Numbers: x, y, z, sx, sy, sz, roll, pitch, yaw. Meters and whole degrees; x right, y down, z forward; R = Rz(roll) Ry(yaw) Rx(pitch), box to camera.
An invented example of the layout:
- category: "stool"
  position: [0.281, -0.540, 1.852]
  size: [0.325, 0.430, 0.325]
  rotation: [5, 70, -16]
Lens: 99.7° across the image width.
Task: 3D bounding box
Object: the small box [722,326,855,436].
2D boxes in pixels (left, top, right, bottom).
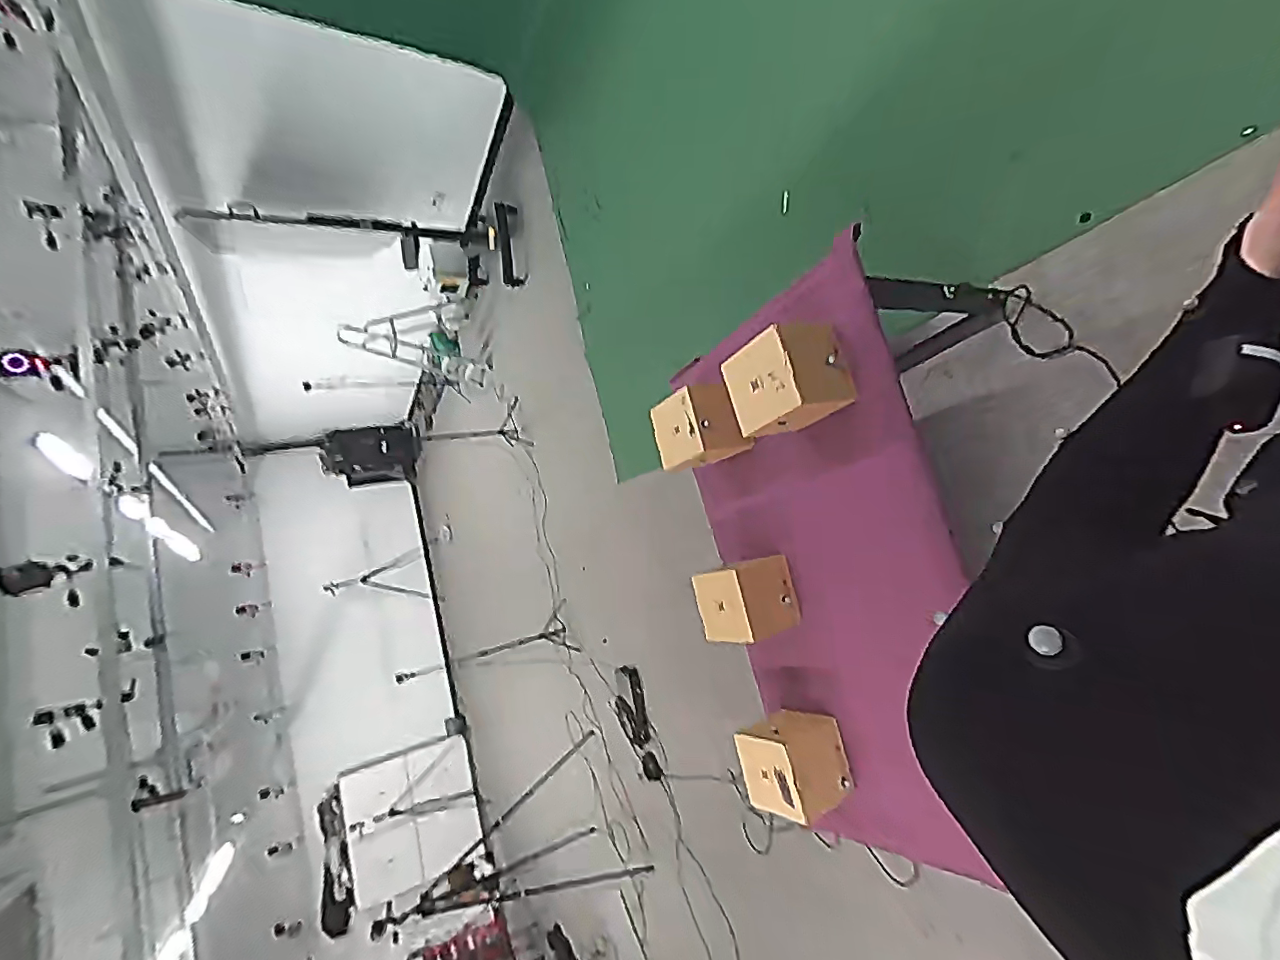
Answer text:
- category: "small box"
  position: [0.304, -0.203, 1.116]
  size: [0.179, 0.176, 0.168]
  rotation: [-31, 75, 57]

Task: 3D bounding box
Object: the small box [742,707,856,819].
- category: "small box"
  position: [0.373, 0.643, 1.254]
  size: [0.179, 0.176, 0.168]
  rotation: [-27, 75, 56]

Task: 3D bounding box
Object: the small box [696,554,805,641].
- category: "small box"
  position: [0.269, 0.286, 1.322]
  size: [0.179, 0.176, 0.168]
  rotation: [-24, 79, 56]

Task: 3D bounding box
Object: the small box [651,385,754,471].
- category: "small box"
  position: [0.157, -0.132, 1.374]
  size: [0.179, 0.176, 0.168]
  rotation: [-28, 76, 57]
